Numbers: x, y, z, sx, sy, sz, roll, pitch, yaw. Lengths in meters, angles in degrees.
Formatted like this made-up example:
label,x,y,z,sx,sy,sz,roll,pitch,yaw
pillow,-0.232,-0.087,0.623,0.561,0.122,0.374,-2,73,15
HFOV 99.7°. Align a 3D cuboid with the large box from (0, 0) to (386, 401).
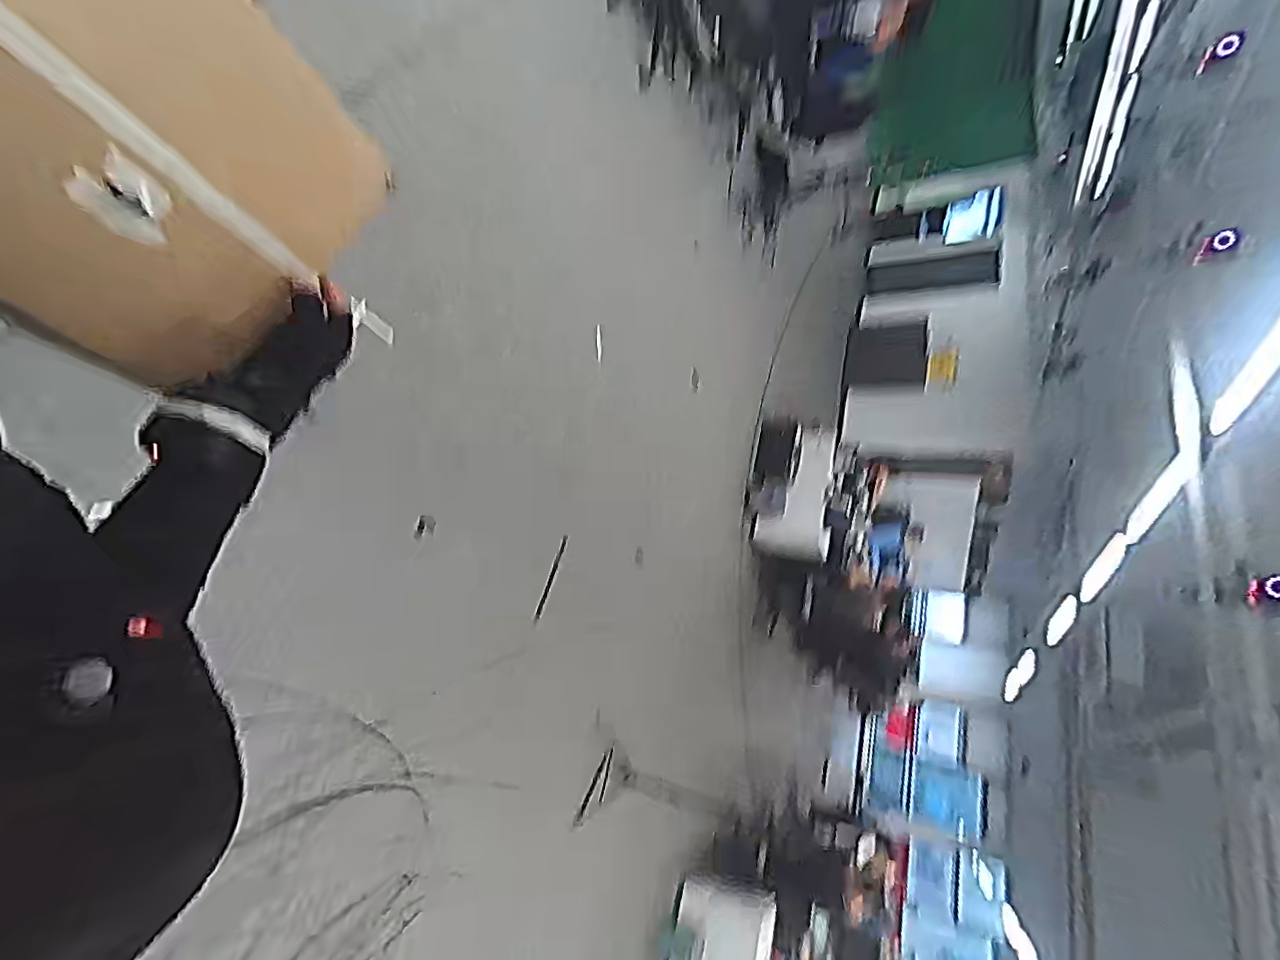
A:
label,x,y,z,sx,sy,sz,roll,pitch,yaw
large box,-0.539,-0.323,0.468,0.320,0.320,0.408,-63,146,-17
